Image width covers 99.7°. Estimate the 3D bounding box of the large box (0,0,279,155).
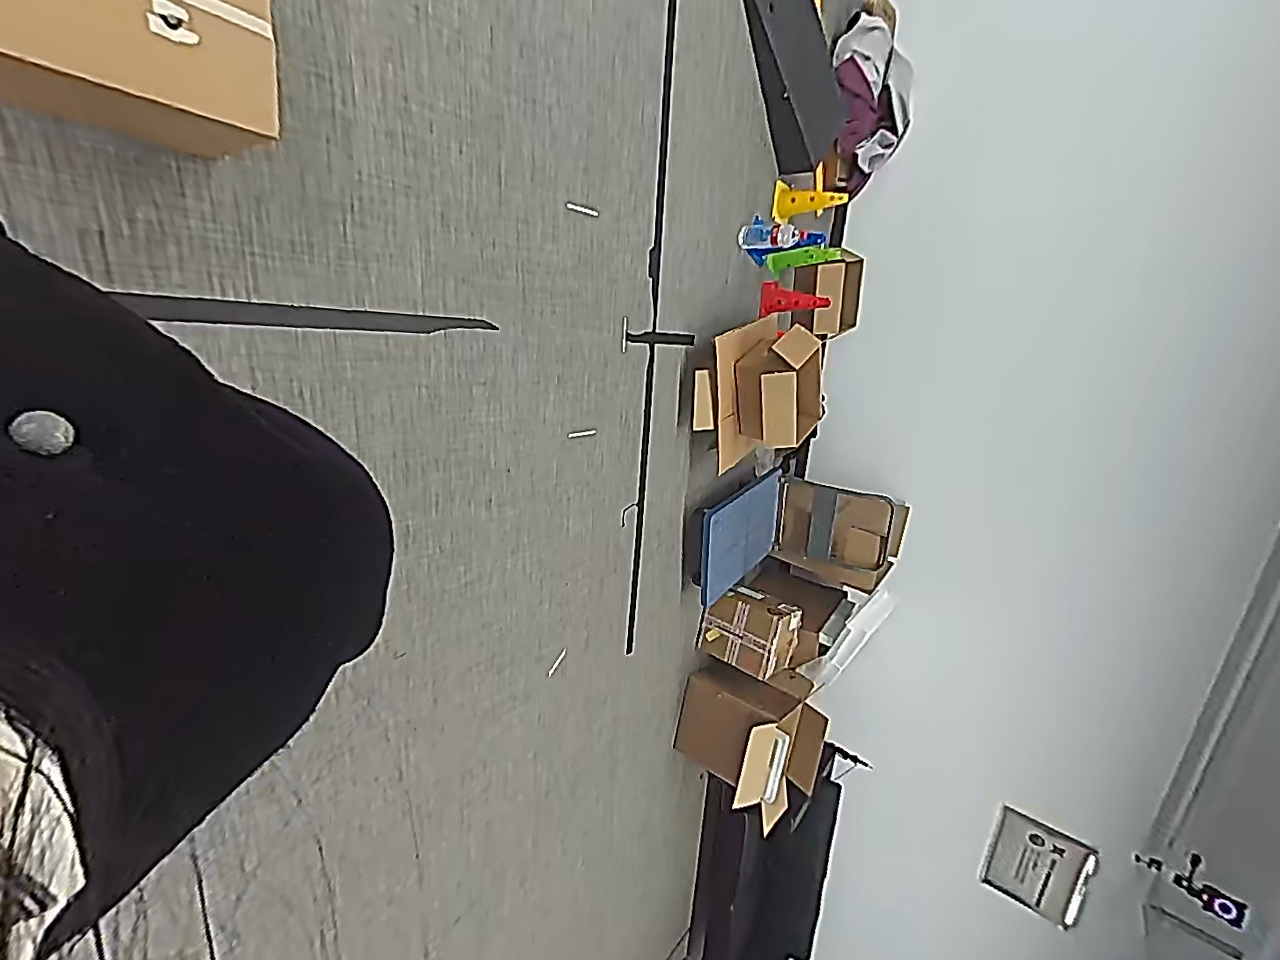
[{"bbox_3d":[-0.852,-0.747,0.829,0.408,0.320,0.320,-13,114,-52],"label":"large box"}]
